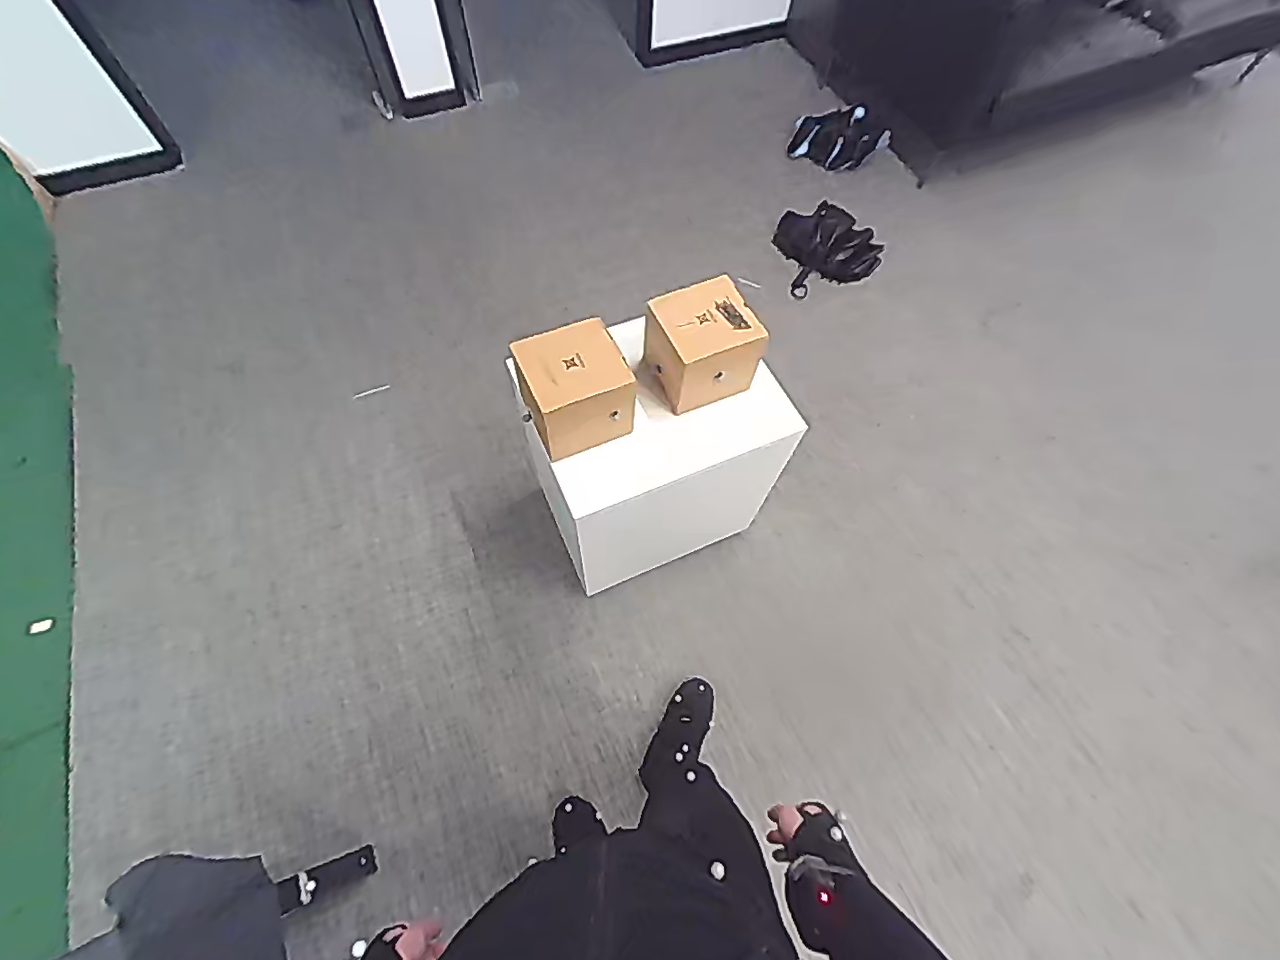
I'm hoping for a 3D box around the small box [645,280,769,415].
[{"bbox_3d":[0.122,-0.256,1.064,0.179,0.176,0.168,-20,66,-13],"label":"small box"}]

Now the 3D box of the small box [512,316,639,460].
[{"bbox_3d":[-0.119,-0.165,0.999,0.179,0.176,0.168,-22,65,-15],"label":"small box"}]
